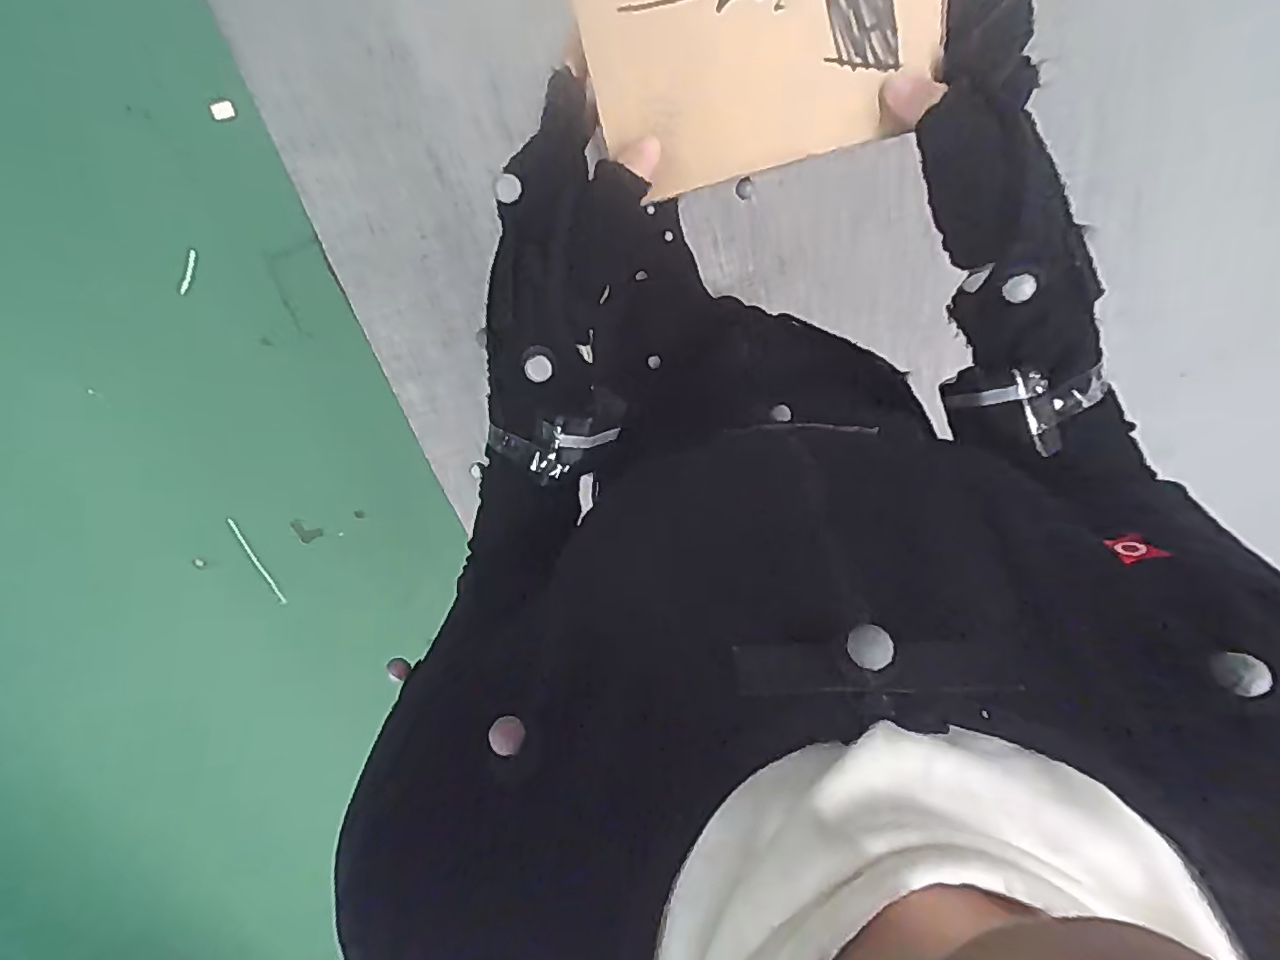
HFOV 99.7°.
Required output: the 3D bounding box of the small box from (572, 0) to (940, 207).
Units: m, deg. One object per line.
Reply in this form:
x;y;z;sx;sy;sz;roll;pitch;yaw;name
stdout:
0.054;-0.284;0.328;0.179;0.176;0.168;-14;119;9;small box
